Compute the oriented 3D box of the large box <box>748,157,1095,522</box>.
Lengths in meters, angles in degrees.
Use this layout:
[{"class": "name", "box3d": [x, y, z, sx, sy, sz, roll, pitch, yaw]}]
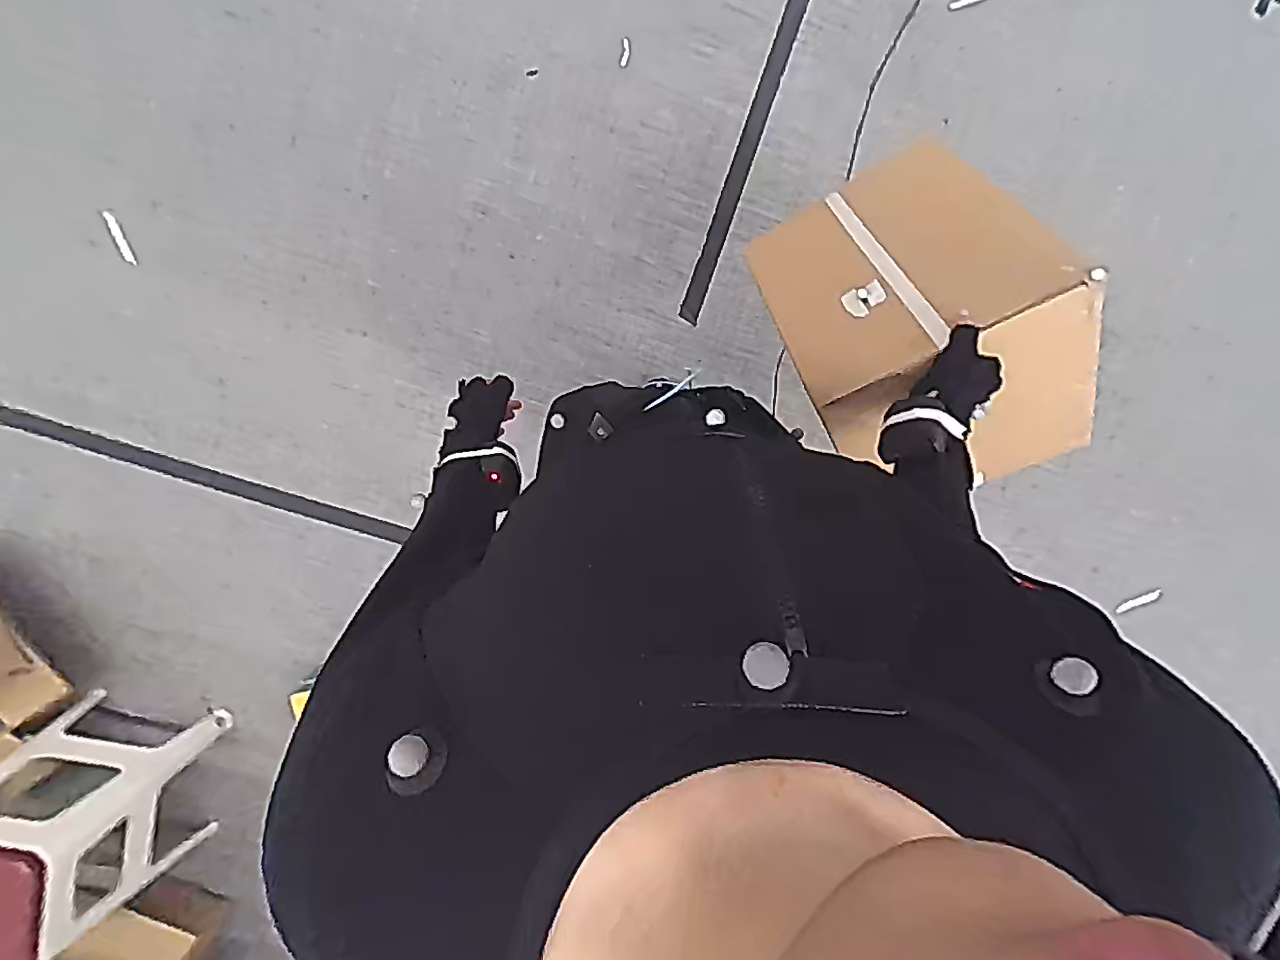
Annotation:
[{"class": "large box", "box3d": [0.407, -0.211, 0.854, 0.320, 0.408, 0.320, -24, 138, 20]}]
